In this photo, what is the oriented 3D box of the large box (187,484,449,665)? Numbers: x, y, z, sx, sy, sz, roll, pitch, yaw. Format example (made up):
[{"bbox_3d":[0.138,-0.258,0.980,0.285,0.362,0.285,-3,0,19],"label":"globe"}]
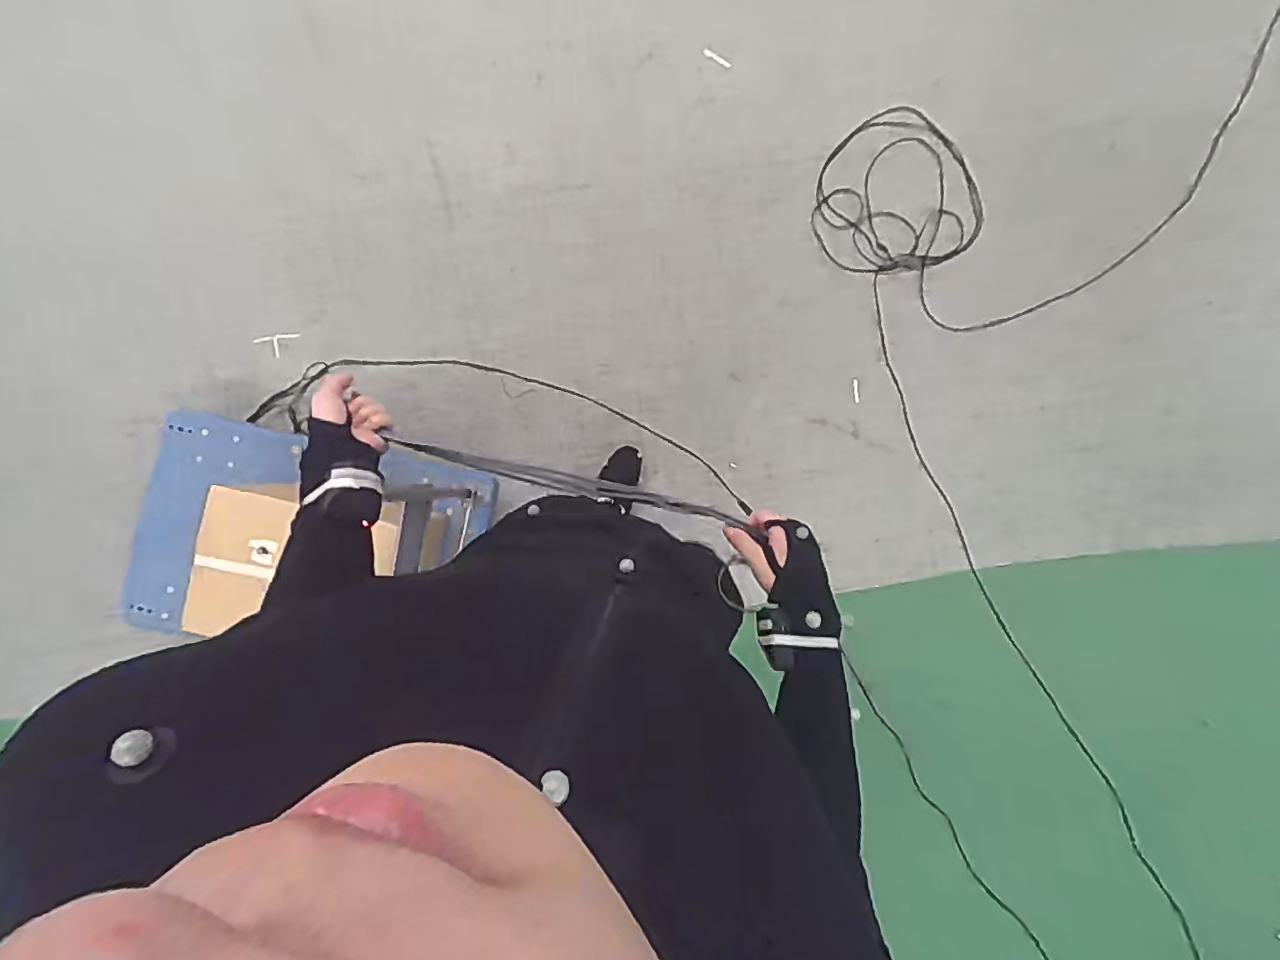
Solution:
[{"bbox_3d":[-0.716,0.199,1.268,0.408,0.320,0.320,12,90,-1],"label":"large box"}]
